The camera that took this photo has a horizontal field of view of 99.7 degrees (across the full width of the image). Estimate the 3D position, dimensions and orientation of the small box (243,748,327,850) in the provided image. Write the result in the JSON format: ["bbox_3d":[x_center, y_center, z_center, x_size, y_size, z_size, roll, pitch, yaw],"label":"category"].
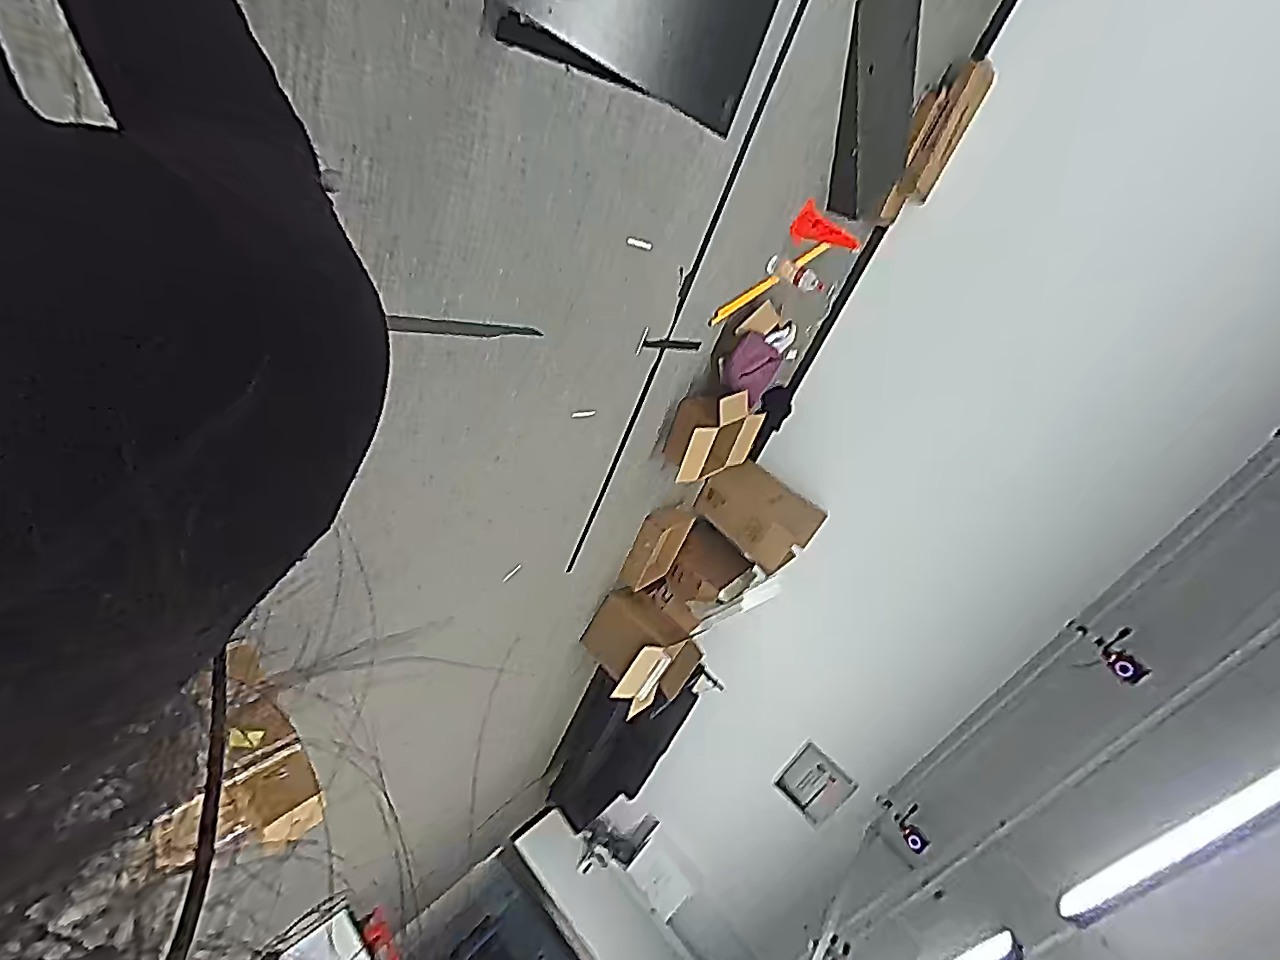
[{"bbox_3d":[-1.086,0.971,1.661,0.168,0.176,0.179,-23,139,-48],"label":"small box"}]
